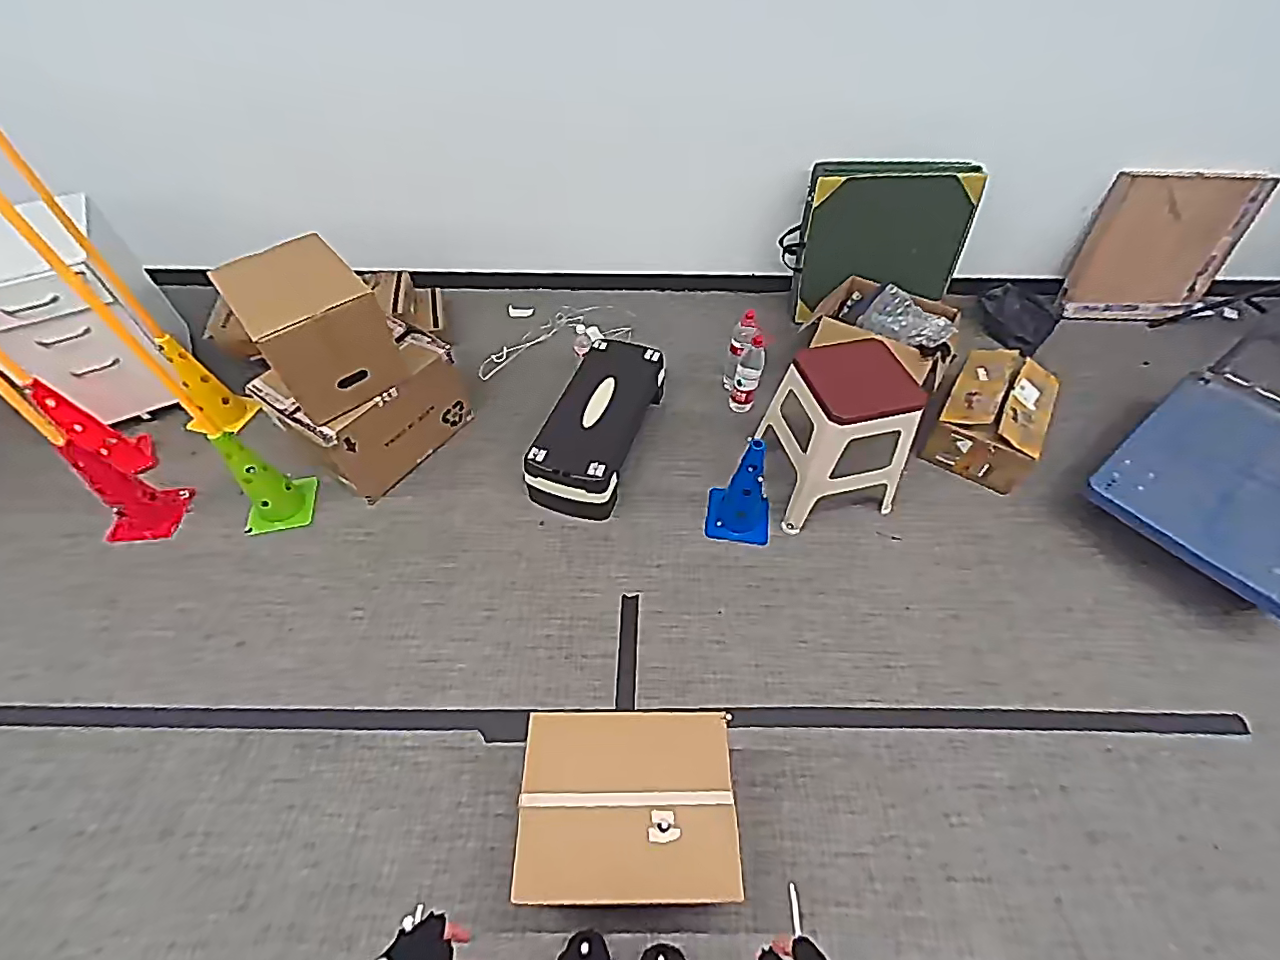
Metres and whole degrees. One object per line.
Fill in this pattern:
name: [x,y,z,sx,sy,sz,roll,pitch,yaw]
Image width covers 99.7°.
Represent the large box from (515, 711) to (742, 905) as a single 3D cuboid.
large box: [-0.028,0.693,1.139,0.408,0.320,0.320,1,53,-2]
